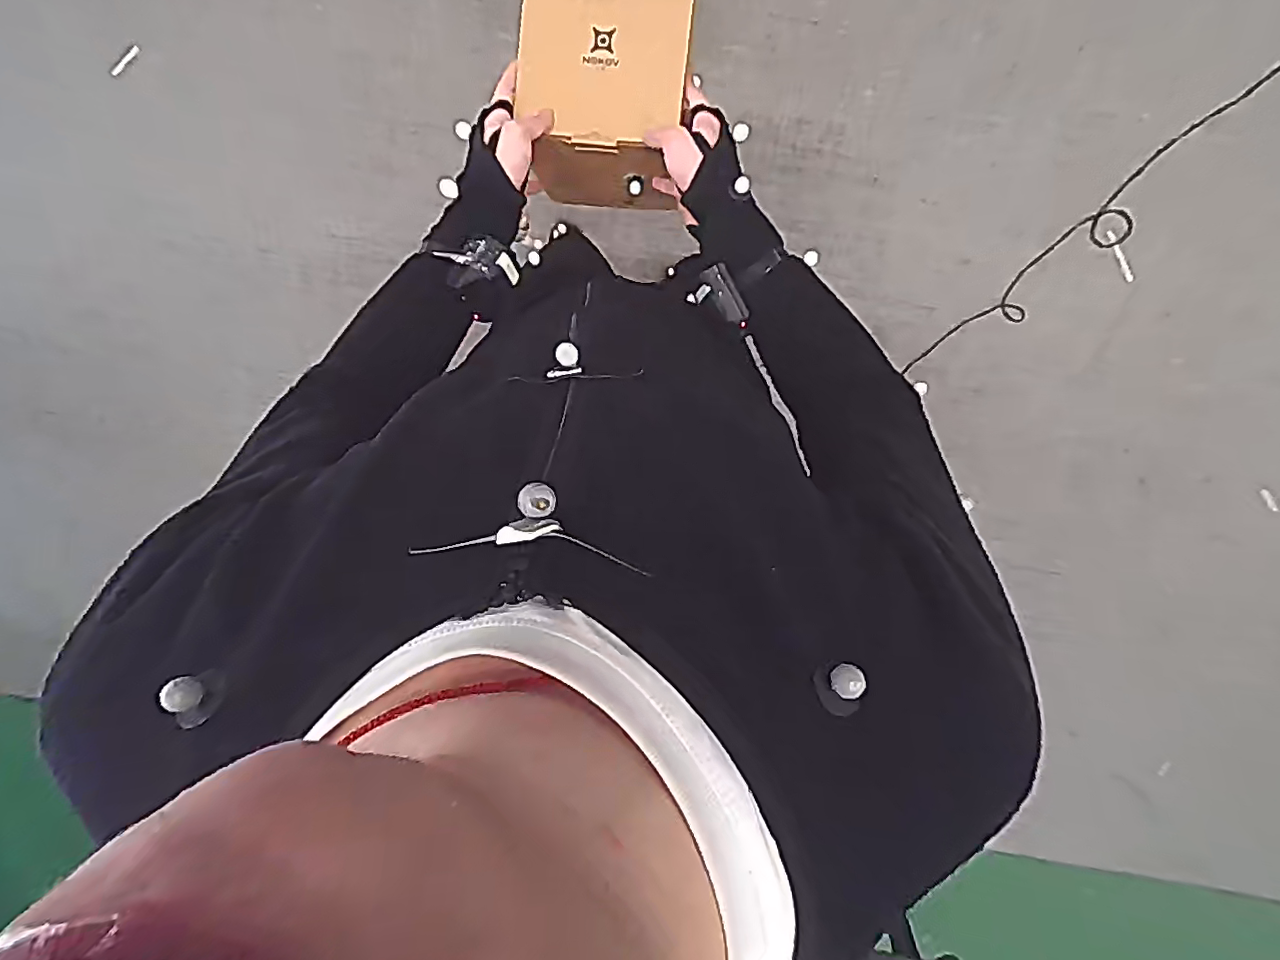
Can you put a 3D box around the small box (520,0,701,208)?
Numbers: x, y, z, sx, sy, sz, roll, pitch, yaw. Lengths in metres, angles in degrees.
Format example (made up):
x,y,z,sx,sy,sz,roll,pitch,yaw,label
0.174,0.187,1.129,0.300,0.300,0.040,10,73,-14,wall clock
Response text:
x,y,z,sx,sy,sz,roll,pitch,yaw,label
-0.024,-0.422,0.594,0.168,0.176,0.179,6,95,2,small box
